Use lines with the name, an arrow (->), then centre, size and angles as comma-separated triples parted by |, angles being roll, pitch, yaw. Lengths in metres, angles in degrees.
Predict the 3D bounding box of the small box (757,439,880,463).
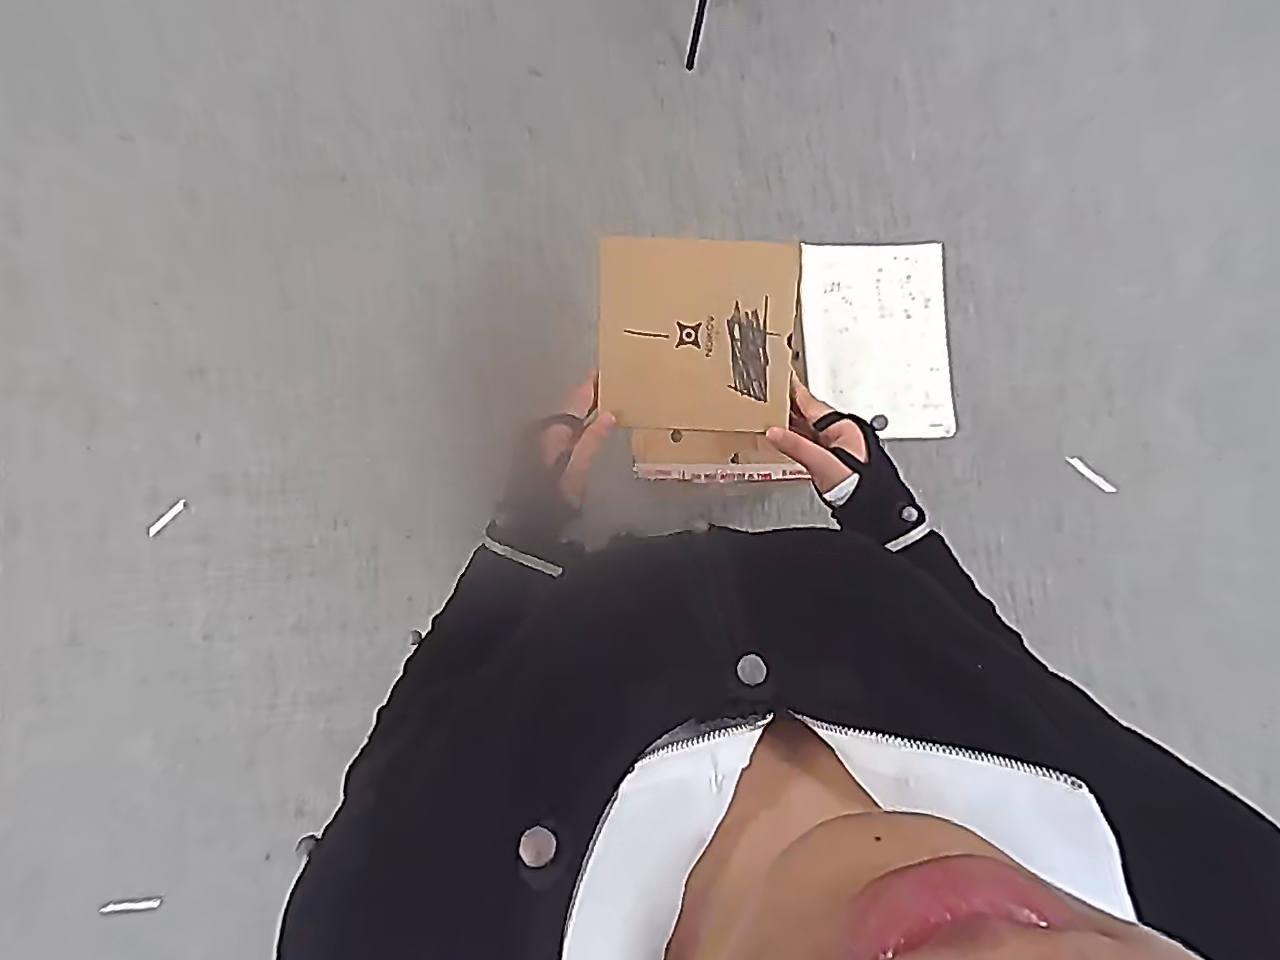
small box -> 0.310, -0.129, 0.995 | 0.179, 0.176, 0.168 | -7, 85, -2

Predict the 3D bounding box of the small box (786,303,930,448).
small box -> 0.312, -0.152, 0.833 | 0.168, 0.176, 0.179 | -4, 85, -3

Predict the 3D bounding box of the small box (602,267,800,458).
small box -> 0.053, -0.118, 0.576 | 0.179, 0.176, 0.168 | 3, 98, -1
